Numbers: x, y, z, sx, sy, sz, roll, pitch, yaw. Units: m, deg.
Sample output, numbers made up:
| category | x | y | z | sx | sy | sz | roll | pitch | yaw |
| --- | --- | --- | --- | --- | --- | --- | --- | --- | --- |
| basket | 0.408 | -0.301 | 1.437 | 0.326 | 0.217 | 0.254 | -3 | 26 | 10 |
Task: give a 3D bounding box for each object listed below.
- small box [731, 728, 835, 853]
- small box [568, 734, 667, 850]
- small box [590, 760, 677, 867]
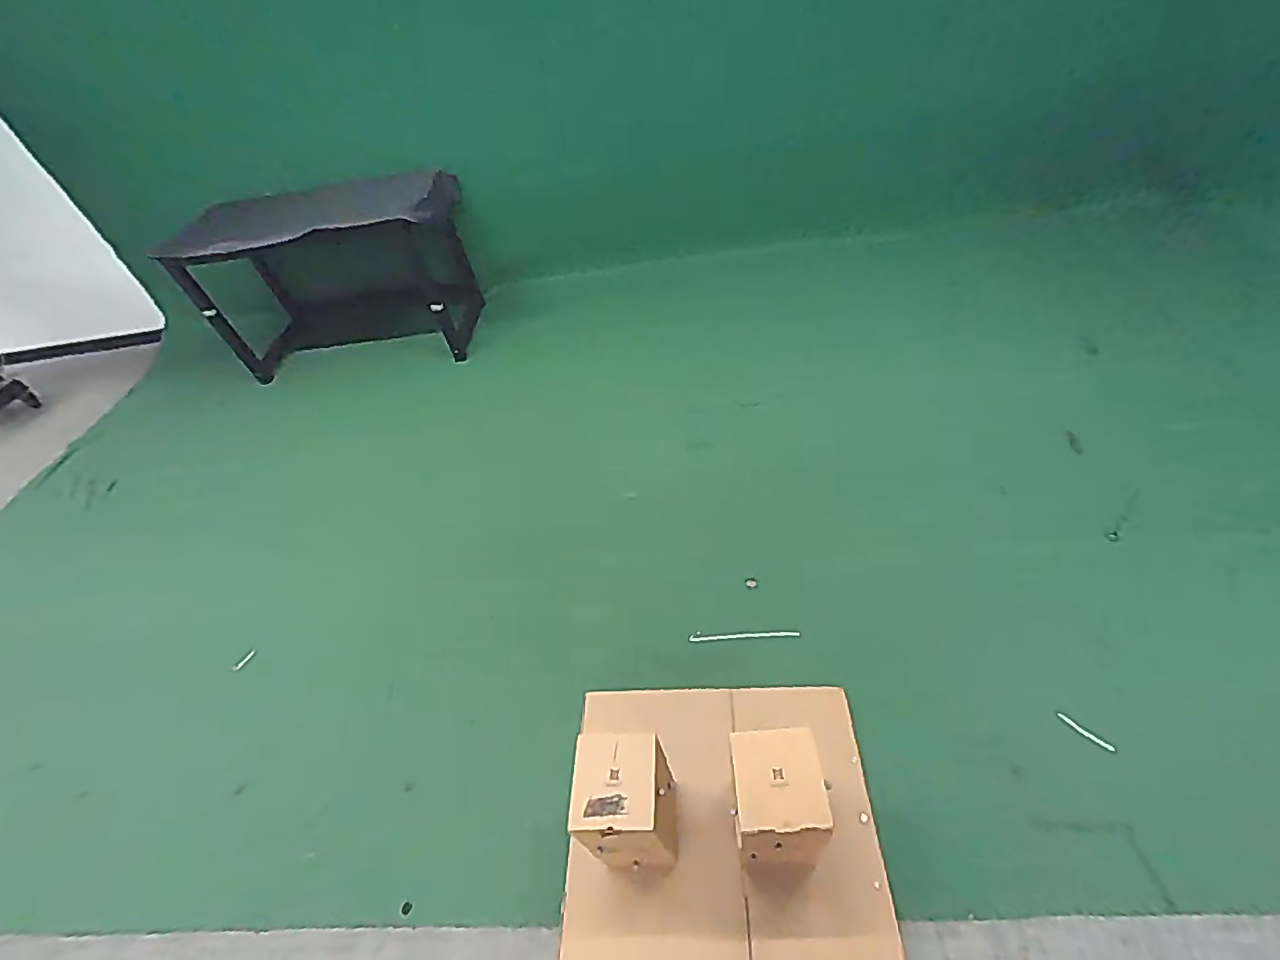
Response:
| category | x | y | z | sx | sy | sz | roll | pitch | yaw |
| --- | --- | --- | --- | --- | --- | --- | --- | --- | --- |
| small box | 0.271 | 0.613 | 1.065 | 0.168 | 0.176 | 0.179 | -7 | 45 | 5 |
| small box | -0.037 | 0.637 | 1.102 | 0.168 | 0.176 | 0.179 | -5 | 45 | 9 |
| small box | -0.009 | 0.751 | 1.217 | 0.168 | 0.176 | 0.179 | -6 | 46 | 8 |
